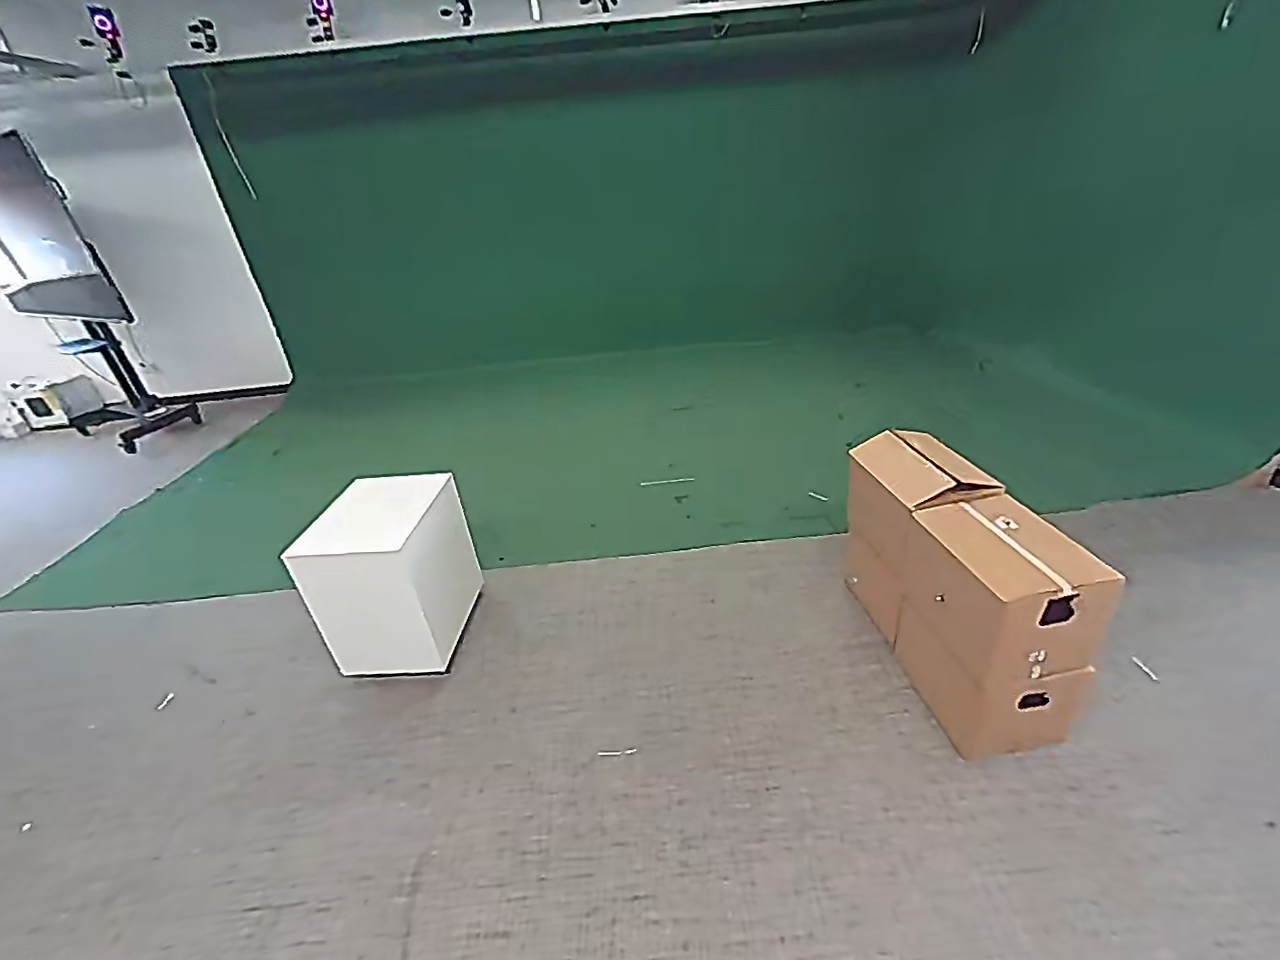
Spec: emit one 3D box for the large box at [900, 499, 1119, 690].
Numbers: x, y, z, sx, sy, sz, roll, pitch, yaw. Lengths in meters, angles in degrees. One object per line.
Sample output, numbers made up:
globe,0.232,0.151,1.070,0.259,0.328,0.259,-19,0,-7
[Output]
large box,0.994,0.307,1.523,0.320,0.320,0.408,-10,28,-3
